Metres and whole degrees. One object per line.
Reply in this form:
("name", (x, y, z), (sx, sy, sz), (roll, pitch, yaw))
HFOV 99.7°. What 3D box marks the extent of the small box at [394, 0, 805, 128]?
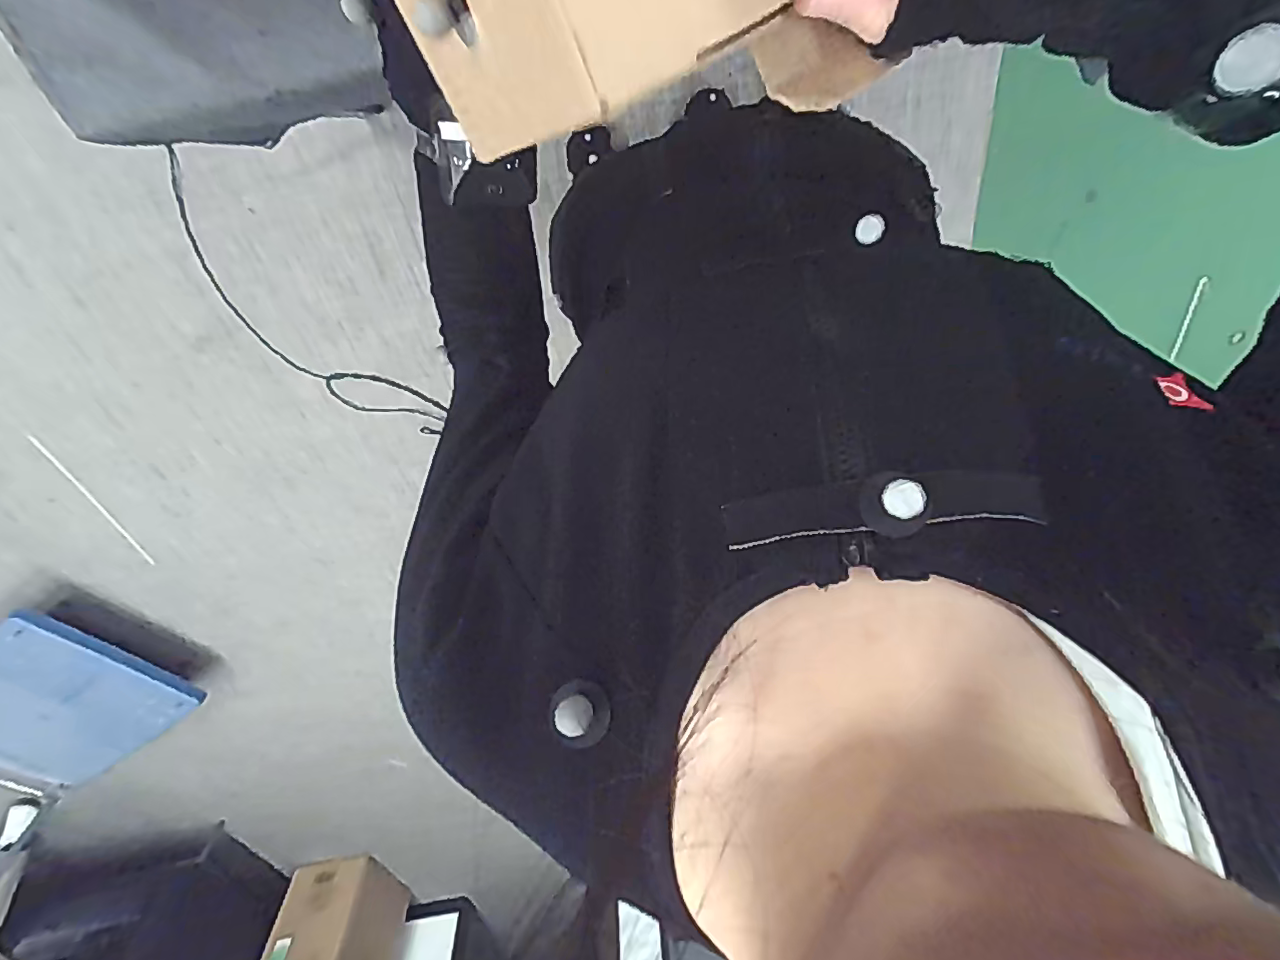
("small box", (-0.011, -0.237, 0.168), (0.168, 0.176, 0.179), (-33, 123, -12))
